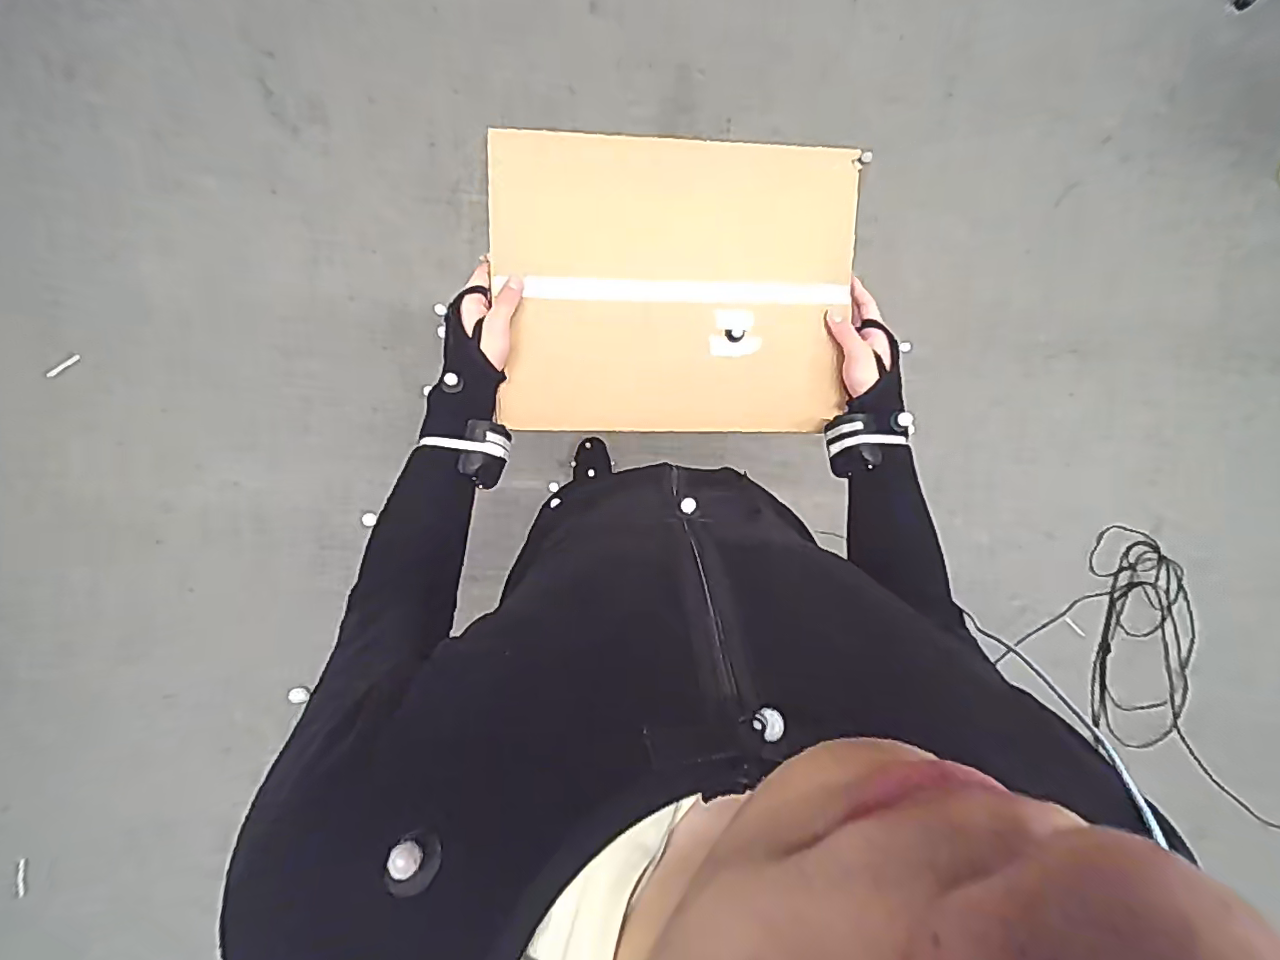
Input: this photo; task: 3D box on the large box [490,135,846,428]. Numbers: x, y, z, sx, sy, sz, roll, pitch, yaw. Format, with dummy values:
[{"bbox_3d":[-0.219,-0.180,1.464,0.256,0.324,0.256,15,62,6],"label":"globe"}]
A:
[{"bbox_3d":[0.022,-0.239,0.760,0.408,0.320,0.320,-1,99,-6],"label":"large box"}]
